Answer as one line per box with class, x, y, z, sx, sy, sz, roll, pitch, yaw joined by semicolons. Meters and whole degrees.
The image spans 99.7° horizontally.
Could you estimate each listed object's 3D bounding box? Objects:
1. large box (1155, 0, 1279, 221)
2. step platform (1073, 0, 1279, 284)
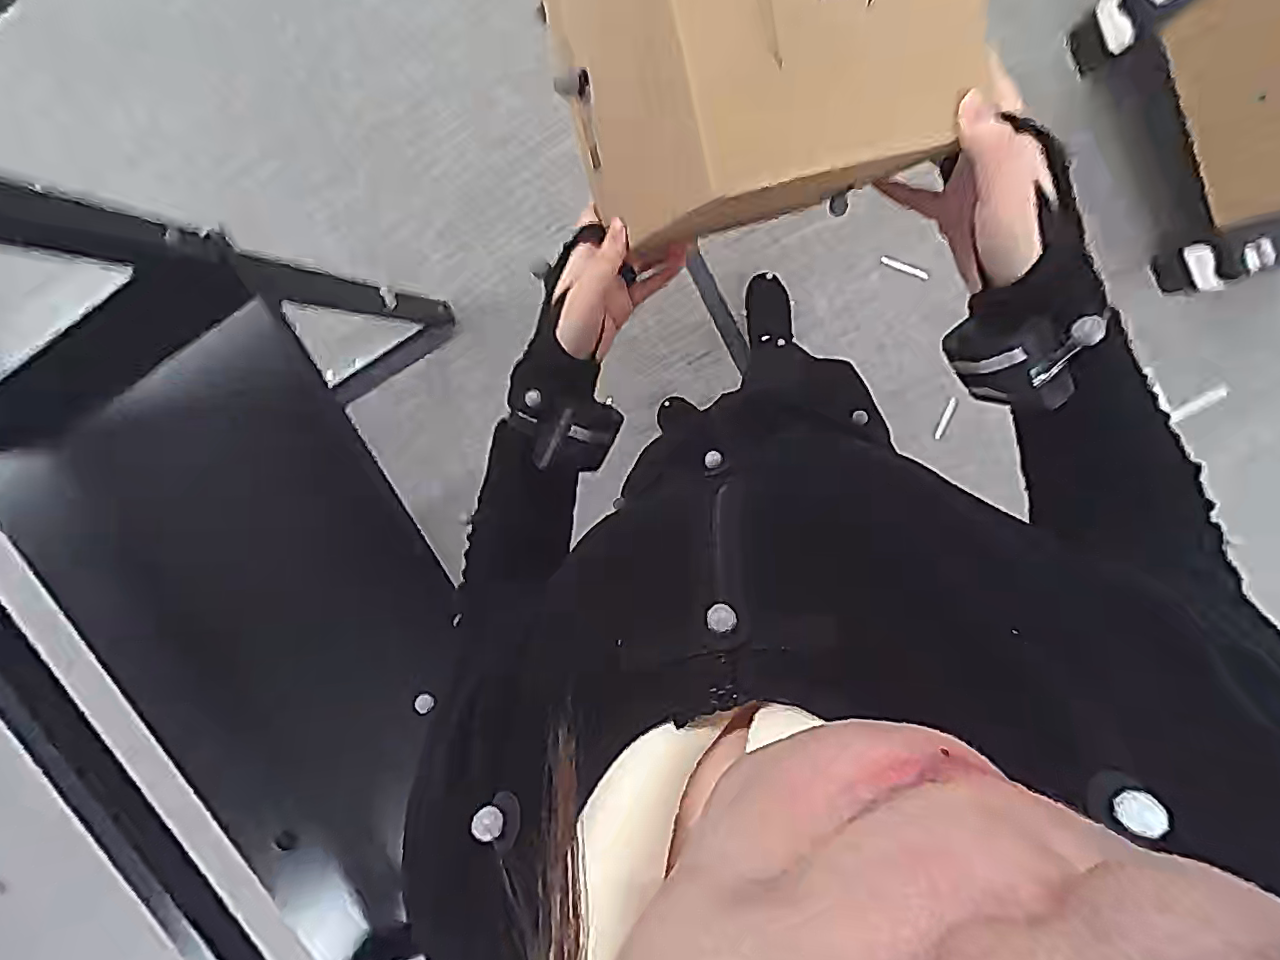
large box;1.205;-0.733;0.907;0.320;0.320;0.408;-25;97;9
step platform;1.206;-0.791;1.140;0.286;0.204;0.684;-23;97;9
